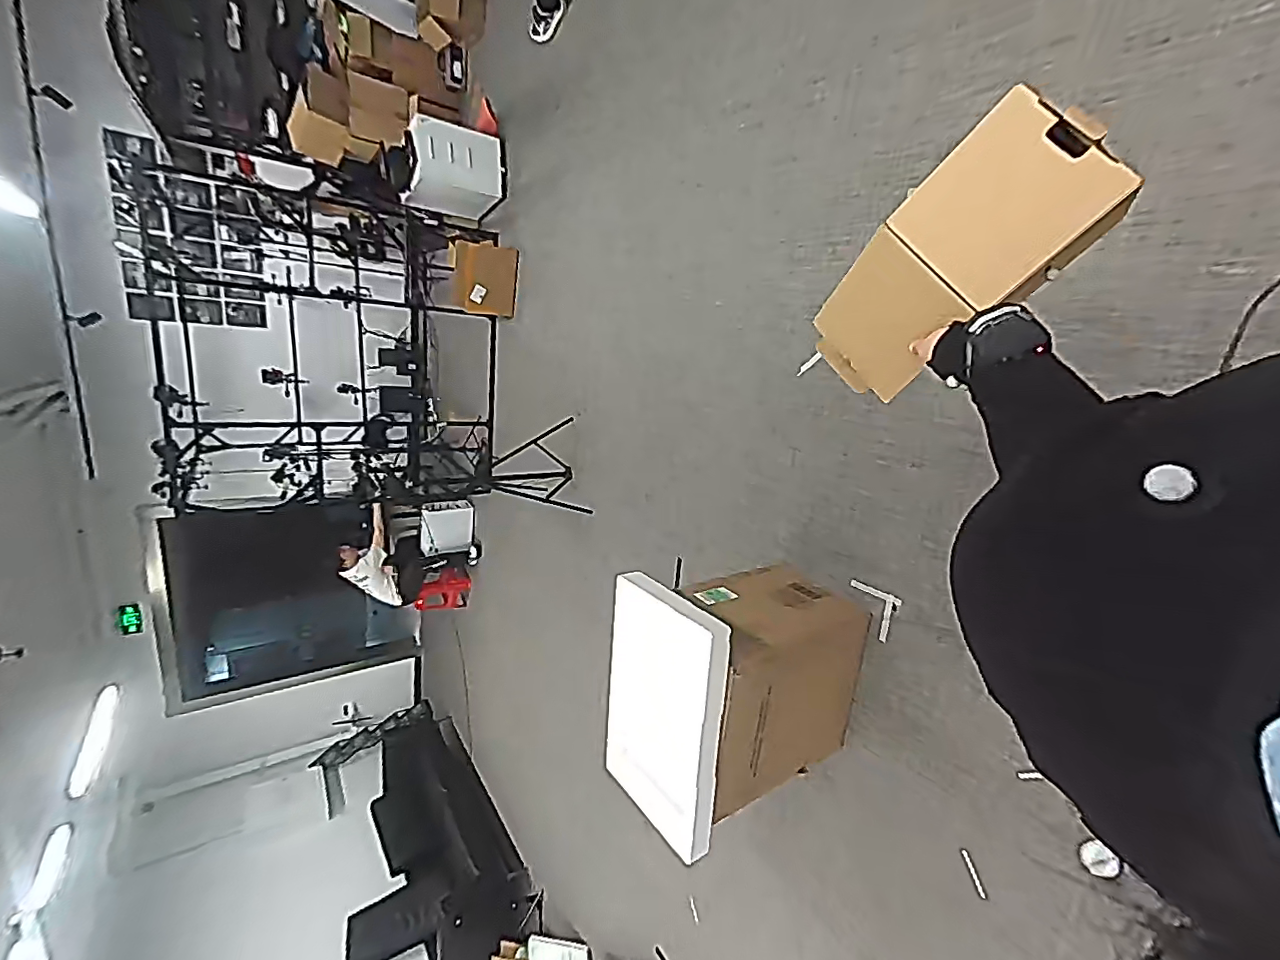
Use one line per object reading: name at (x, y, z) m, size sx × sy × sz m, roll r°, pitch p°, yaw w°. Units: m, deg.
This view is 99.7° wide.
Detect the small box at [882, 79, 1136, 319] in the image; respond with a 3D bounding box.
small box at (0.432, -0.314, 0.649) m, size 0.179 × 0.176 × 0.168 m, roll -46°, pitch 72°, yaw 33°
